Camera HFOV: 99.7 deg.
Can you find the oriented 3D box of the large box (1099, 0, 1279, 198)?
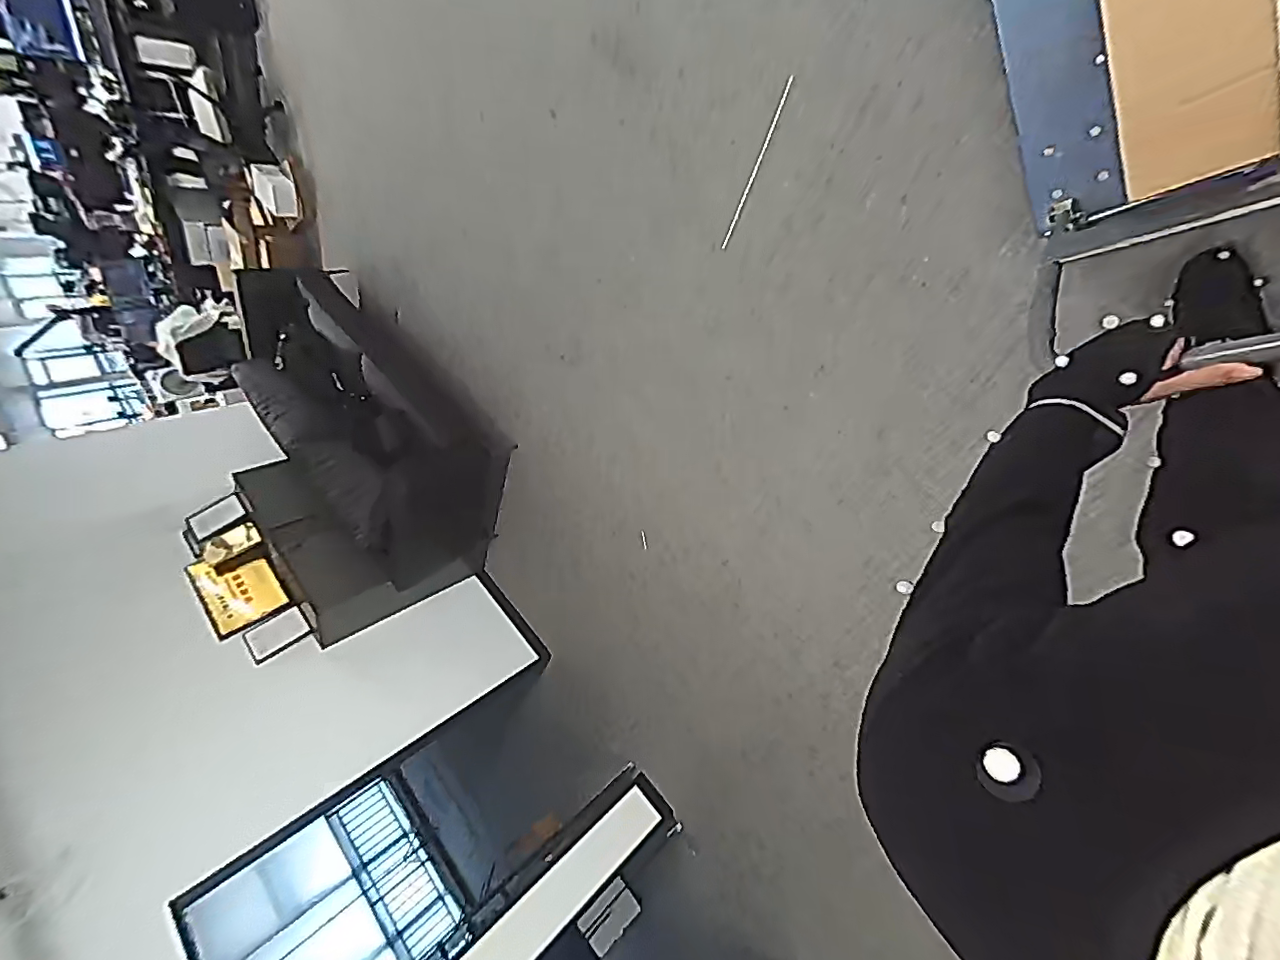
[{"bbox_3d":[0.847,-0.672,0.732,0.320,0.320,0.408,-7,115,45],"label":"large box"}]
